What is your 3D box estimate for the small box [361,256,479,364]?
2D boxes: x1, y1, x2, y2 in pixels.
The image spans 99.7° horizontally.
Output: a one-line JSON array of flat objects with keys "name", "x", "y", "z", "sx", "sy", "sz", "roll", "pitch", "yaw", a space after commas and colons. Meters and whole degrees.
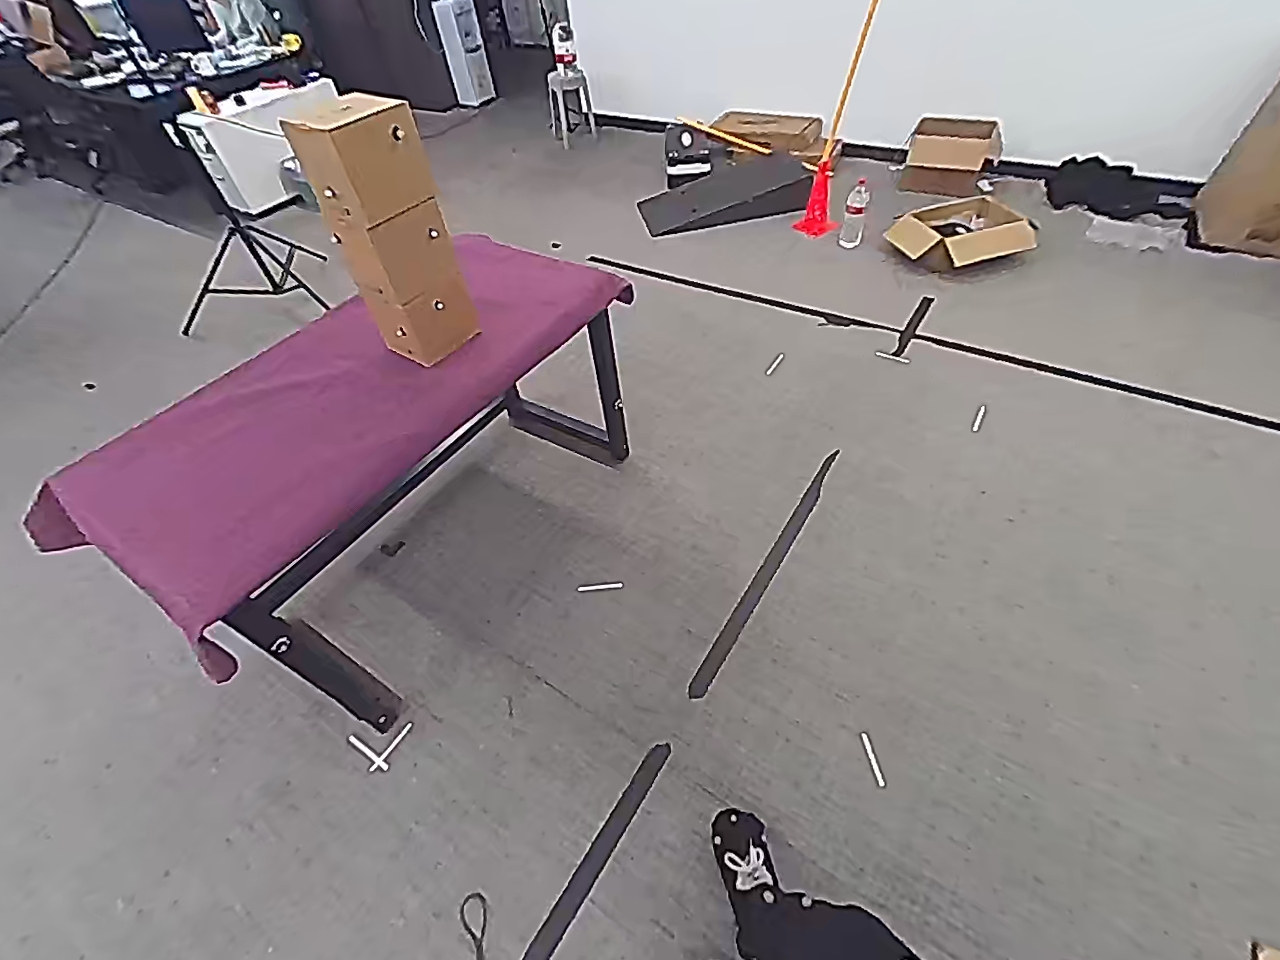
[{"name": "small box", "x": -0.520, "y": -0.407, "z": 1.306, "sx": 0.168, "sy": 0.176, "sz": 0.179, "roll": 26, "pitch": 56, "yaw": 25}]

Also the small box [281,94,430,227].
[{"name": "small box", "x": -0.540, "y": -0.627, "z": 1.061, "sx": 0.168, "sy": 0.176, "sz": 0.179, "roll": 25, "pitch": 57, "yaw": 25}]
